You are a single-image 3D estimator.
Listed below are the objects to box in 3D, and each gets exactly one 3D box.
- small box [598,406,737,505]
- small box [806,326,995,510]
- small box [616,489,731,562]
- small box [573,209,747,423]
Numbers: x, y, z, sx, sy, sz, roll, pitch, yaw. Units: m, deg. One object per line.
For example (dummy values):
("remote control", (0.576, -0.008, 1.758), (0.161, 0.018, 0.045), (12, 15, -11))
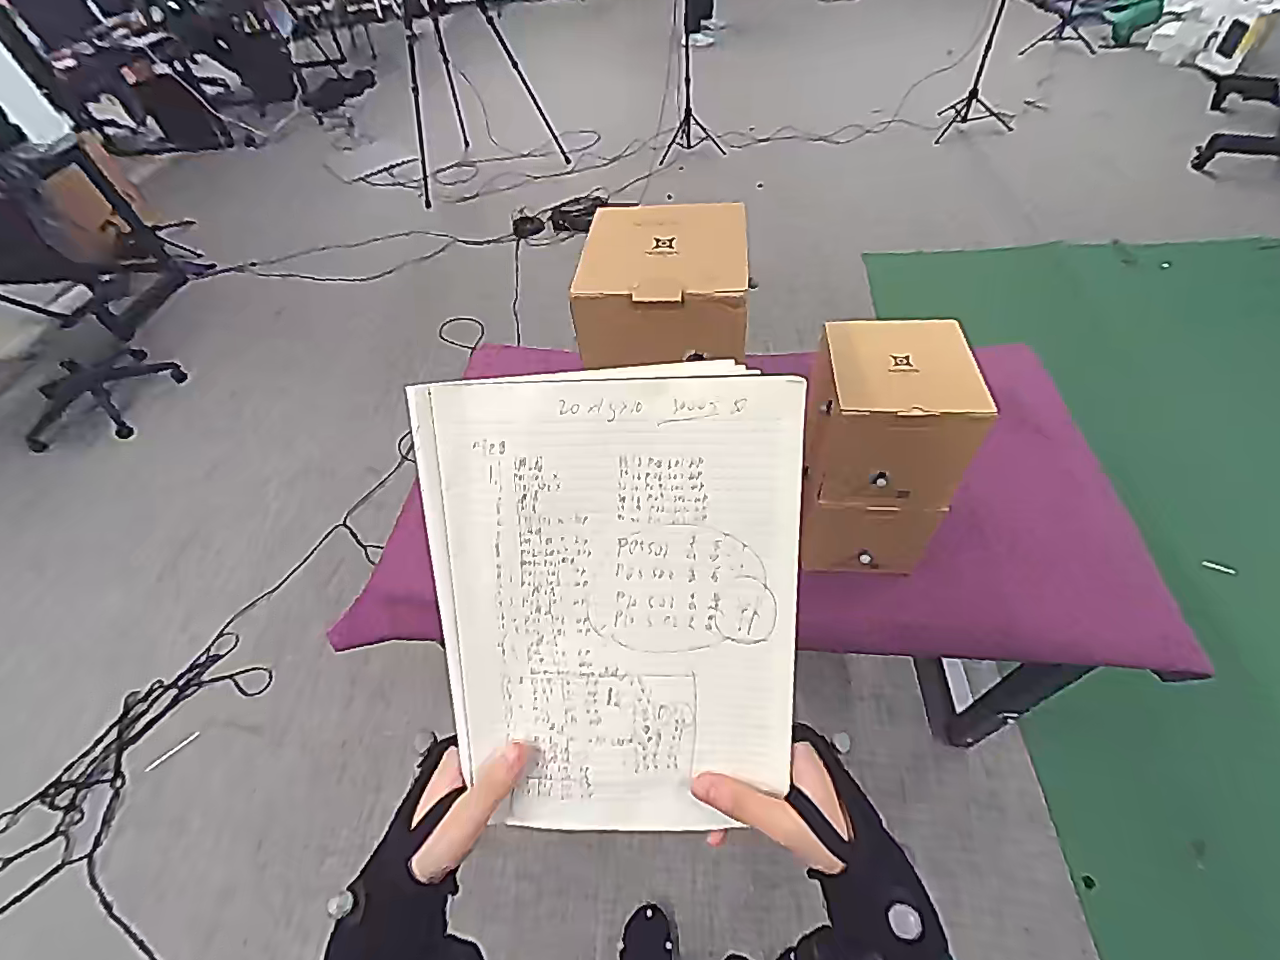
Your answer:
("small box", (0.048, -0.081, 0.738), (0.168, 0.176, 0.179), (2, 50, 8))
("small box", (0.319, -0.082, 0.708), (0.168, 0.176, 0.179), (1, 50, 8))
("small box", (0.063, 0.018, 0.869), (0.168, 0.176, 0.179), (2, 52, 7))
("small box", (0.033, -0.180, 0.609), (0.168, 0.176, 0.179), (3, 51, 8))
